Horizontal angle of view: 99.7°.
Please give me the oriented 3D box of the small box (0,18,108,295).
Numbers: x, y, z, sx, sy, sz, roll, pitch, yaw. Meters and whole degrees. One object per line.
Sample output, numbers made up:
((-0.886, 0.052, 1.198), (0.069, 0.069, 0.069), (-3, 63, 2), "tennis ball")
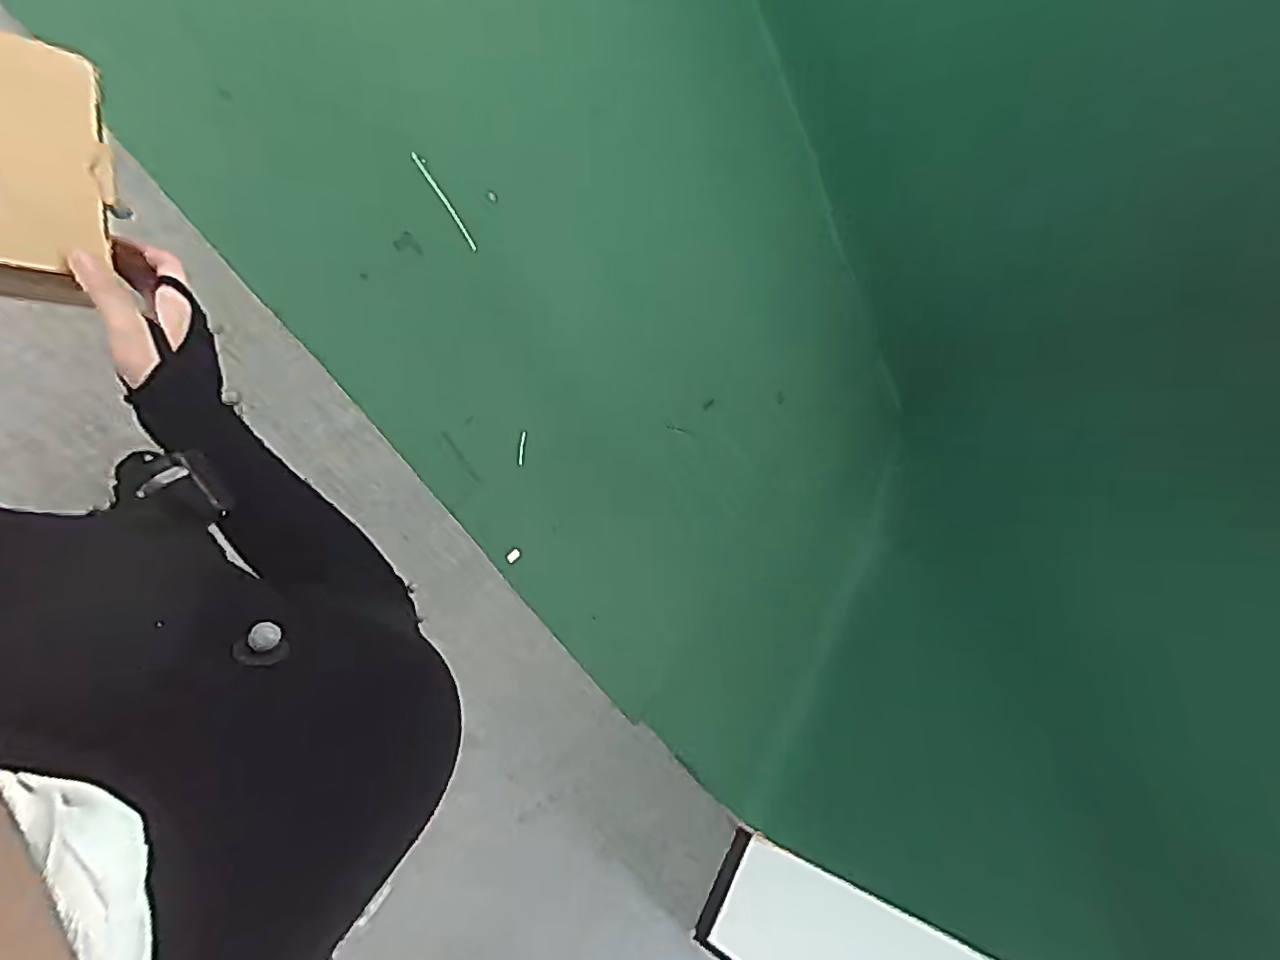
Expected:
((-0.539, -0.249, 0.414), (0.179, 0.176, 0.168), (-4, 96, -45), "small box")
